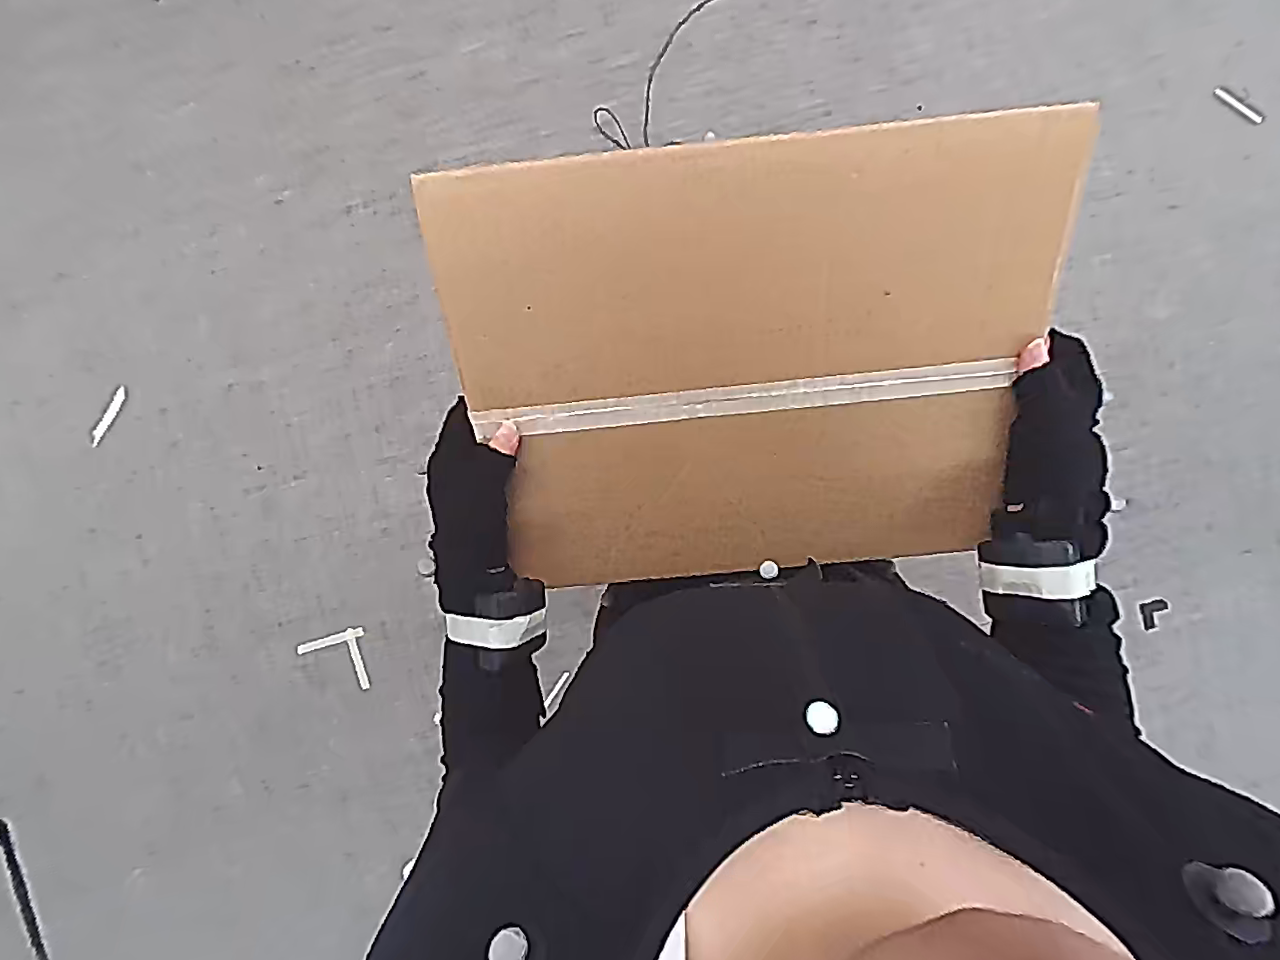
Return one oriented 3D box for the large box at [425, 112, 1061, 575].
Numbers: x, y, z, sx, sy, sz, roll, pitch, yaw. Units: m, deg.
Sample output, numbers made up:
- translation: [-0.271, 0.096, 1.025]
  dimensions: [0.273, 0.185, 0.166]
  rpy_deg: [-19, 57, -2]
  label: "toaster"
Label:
- translation: [0.072, -0.141, 0.533]
  dimensions: [0.408, 0.320, 0.320]
  rpy_deg: [-6, 119, 1]
  label: "large box"
